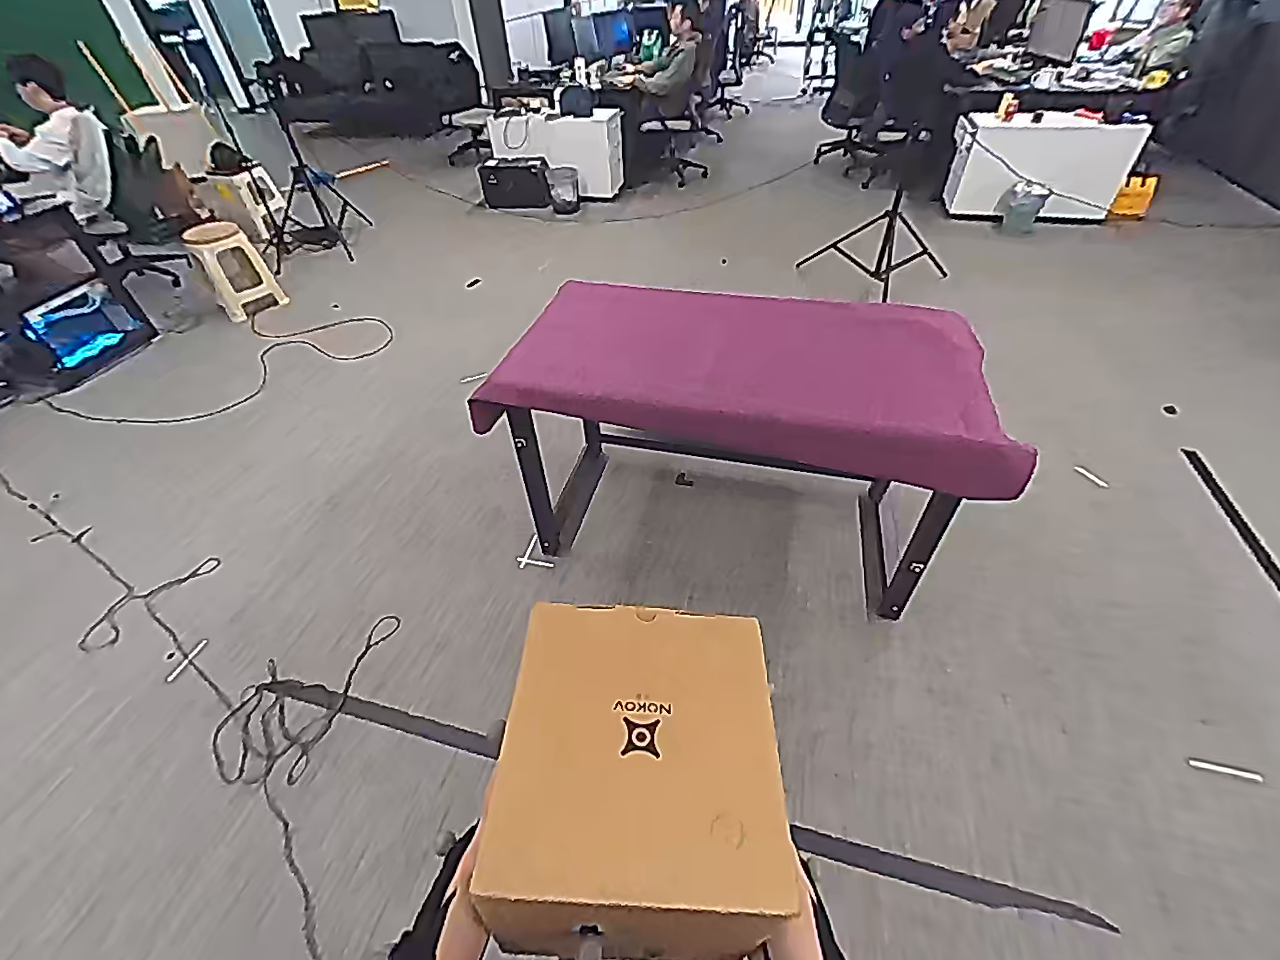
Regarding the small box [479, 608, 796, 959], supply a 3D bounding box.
[{"bbox_3d":[-0.002,0.217,0.386,0.168,0.176,0.179,4,40,-1],"label":"small box"}]
